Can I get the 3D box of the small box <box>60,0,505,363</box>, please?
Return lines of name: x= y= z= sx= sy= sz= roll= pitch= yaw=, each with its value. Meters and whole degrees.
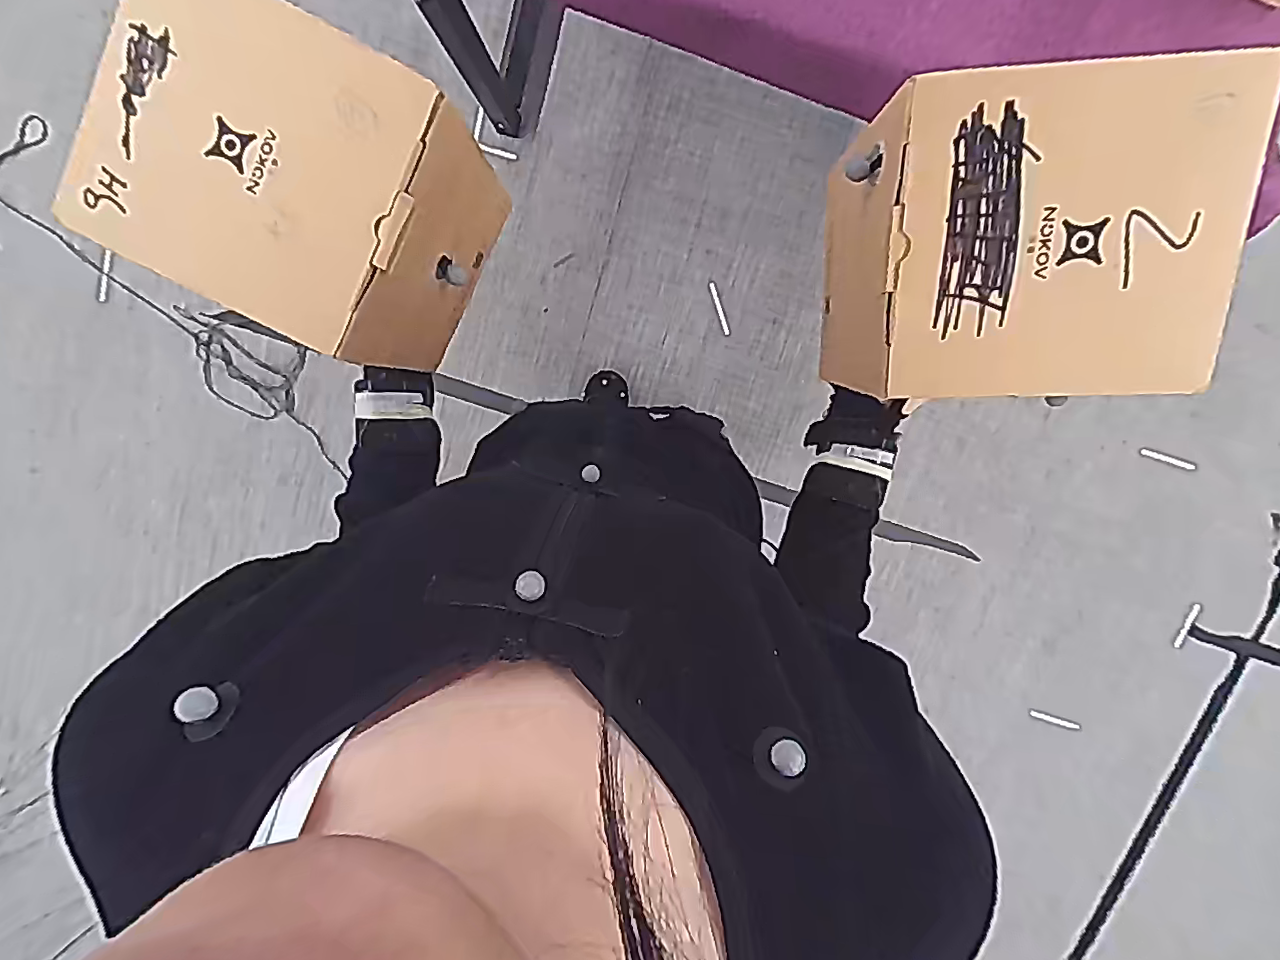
small box: x=-0.217 y=-0.195 z=0.382 sx=0.179 sy=0.176 sz=0.168 roll=27 pitch=97 yaw=-5
